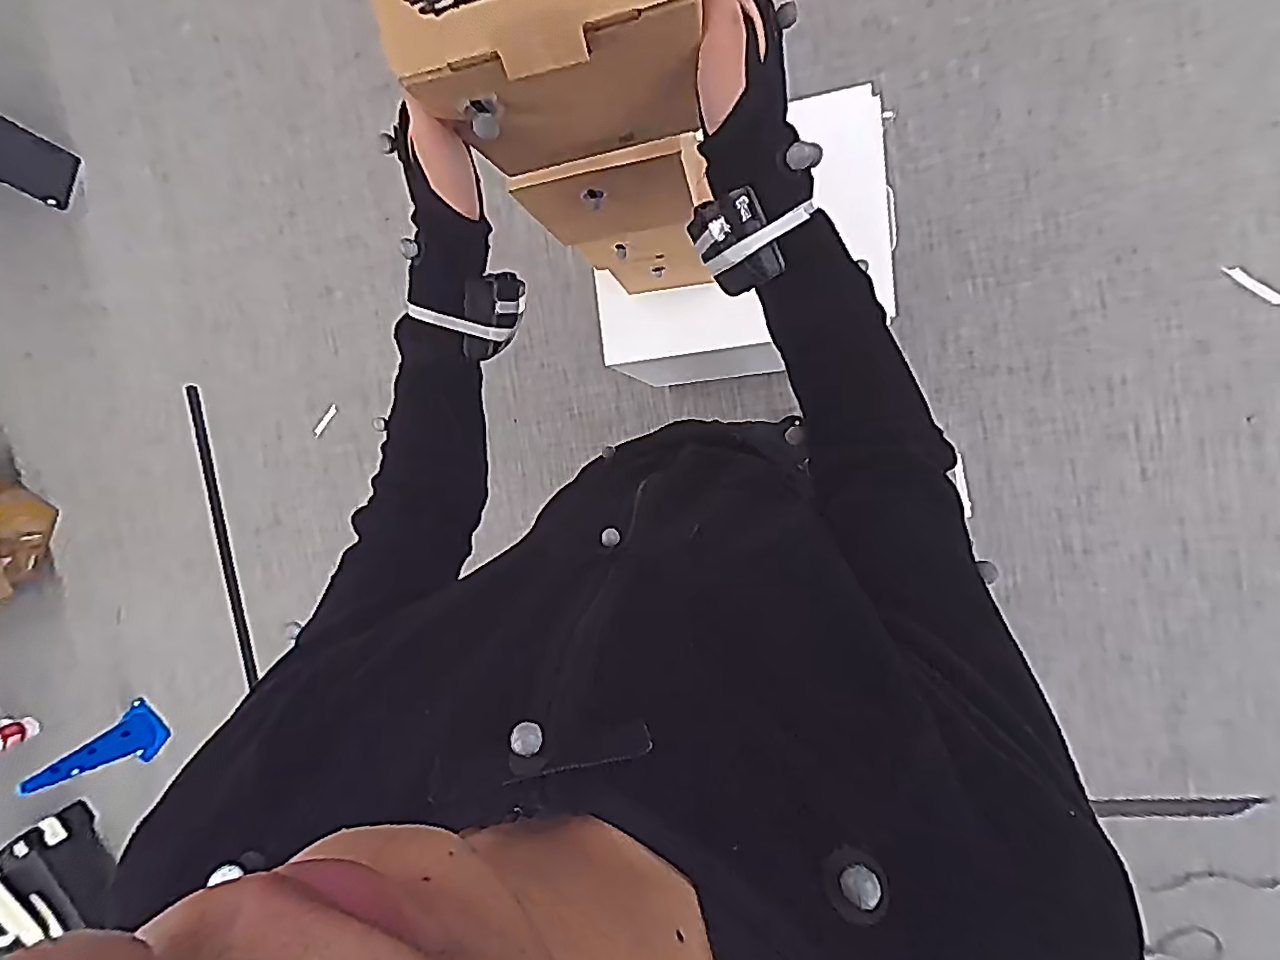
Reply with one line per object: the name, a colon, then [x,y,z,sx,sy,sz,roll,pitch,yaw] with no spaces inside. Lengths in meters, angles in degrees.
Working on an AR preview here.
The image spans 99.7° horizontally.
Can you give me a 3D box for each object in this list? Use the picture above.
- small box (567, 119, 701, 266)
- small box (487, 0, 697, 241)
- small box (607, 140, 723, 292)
small box: [-0.008,-0.407,0.743,0.168,0.176,0.179,-3,94,12]
small box: [-0.040,-0.378,0.583,0.179,0.176,0.168,-6,95,12]
small box: [0.041,-0.424,0.898,0.179,0.176,0.168,-4,95,11]
